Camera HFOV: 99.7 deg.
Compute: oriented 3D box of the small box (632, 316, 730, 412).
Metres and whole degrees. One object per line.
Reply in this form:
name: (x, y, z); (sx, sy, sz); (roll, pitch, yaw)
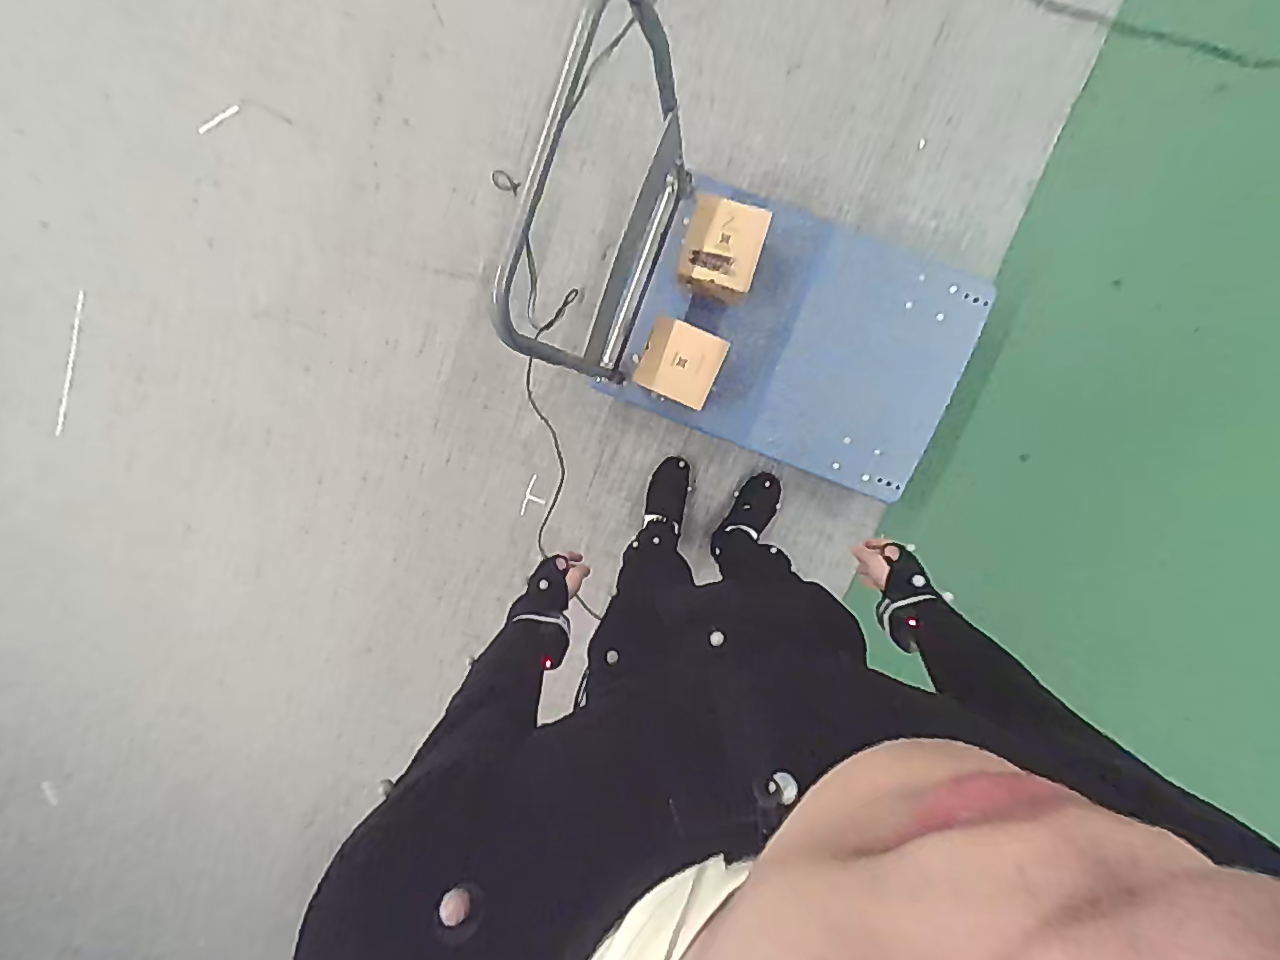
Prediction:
small box: (0.098, -0.269, 1.295); (0.179, 0.176, 0.168); (24, 99, 1)
